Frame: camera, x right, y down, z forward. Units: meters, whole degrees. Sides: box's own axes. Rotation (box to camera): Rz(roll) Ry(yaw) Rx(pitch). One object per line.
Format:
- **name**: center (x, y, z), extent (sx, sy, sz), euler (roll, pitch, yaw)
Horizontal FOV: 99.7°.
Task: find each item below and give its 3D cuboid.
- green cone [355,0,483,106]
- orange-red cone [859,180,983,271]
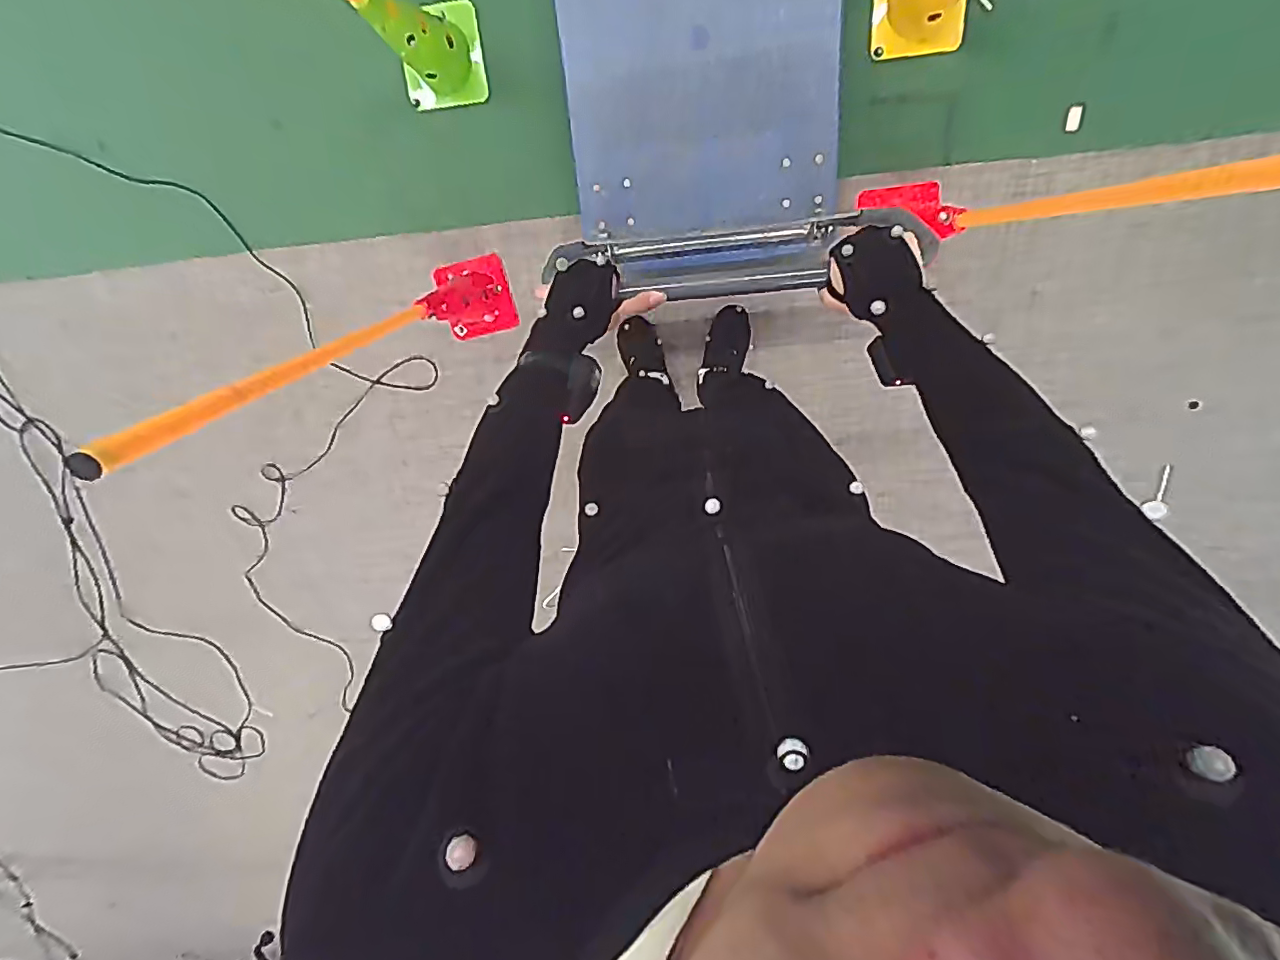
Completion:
- **green cone**: center (-0.491, -0.942, 1.111), extent (0.200, 0.368, 0.202), euler (-4, 111, 7)
- **orange-red cone**: center (0.636, -0.566, 1.180), extent (0.198, 0.360, 0.199), euler (-4, 110, 5)
